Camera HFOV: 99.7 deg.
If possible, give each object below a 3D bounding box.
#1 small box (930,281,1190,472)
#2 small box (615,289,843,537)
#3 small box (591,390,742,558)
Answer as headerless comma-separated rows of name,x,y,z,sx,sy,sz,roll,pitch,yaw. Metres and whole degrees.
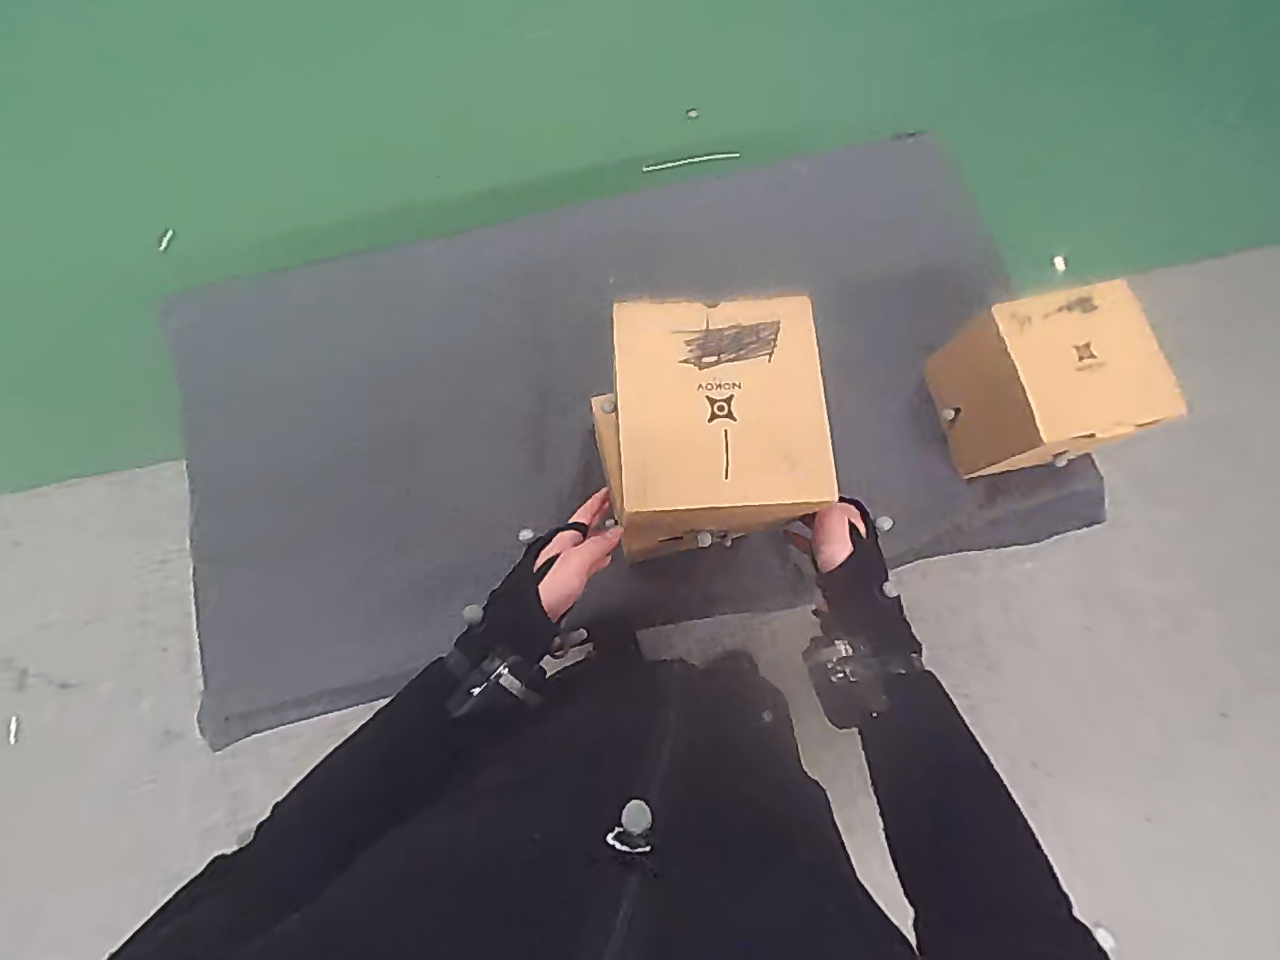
small box,0.503,-0.115,0.679,0.168,0.176,0.179,-11,77,-1
small box,0.062,-0.049,0.491,0.168,0.176,0.179,-3,77,-2
small box,0.043,-0.009,0.650,0.168,0.176,0.179,-14,75,-6
